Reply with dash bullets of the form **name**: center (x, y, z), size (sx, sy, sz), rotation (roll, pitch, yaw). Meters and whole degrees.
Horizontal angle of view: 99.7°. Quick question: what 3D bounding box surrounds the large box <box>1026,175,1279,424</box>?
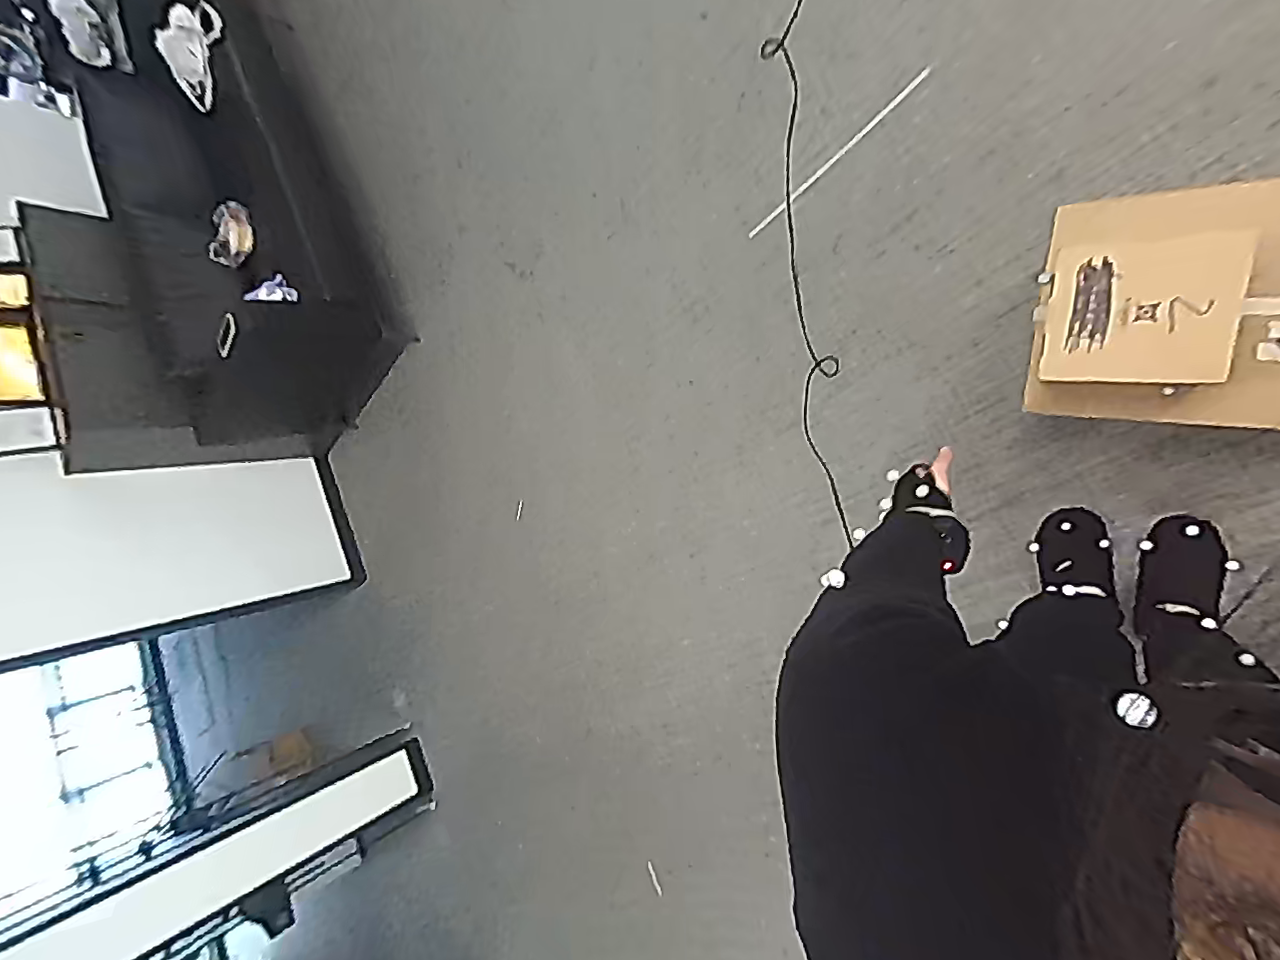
- **large box**: center (0.870, -0.252, 0.840), size (0.408, 0.320, 0.320), rotation (10, 103, 37)
